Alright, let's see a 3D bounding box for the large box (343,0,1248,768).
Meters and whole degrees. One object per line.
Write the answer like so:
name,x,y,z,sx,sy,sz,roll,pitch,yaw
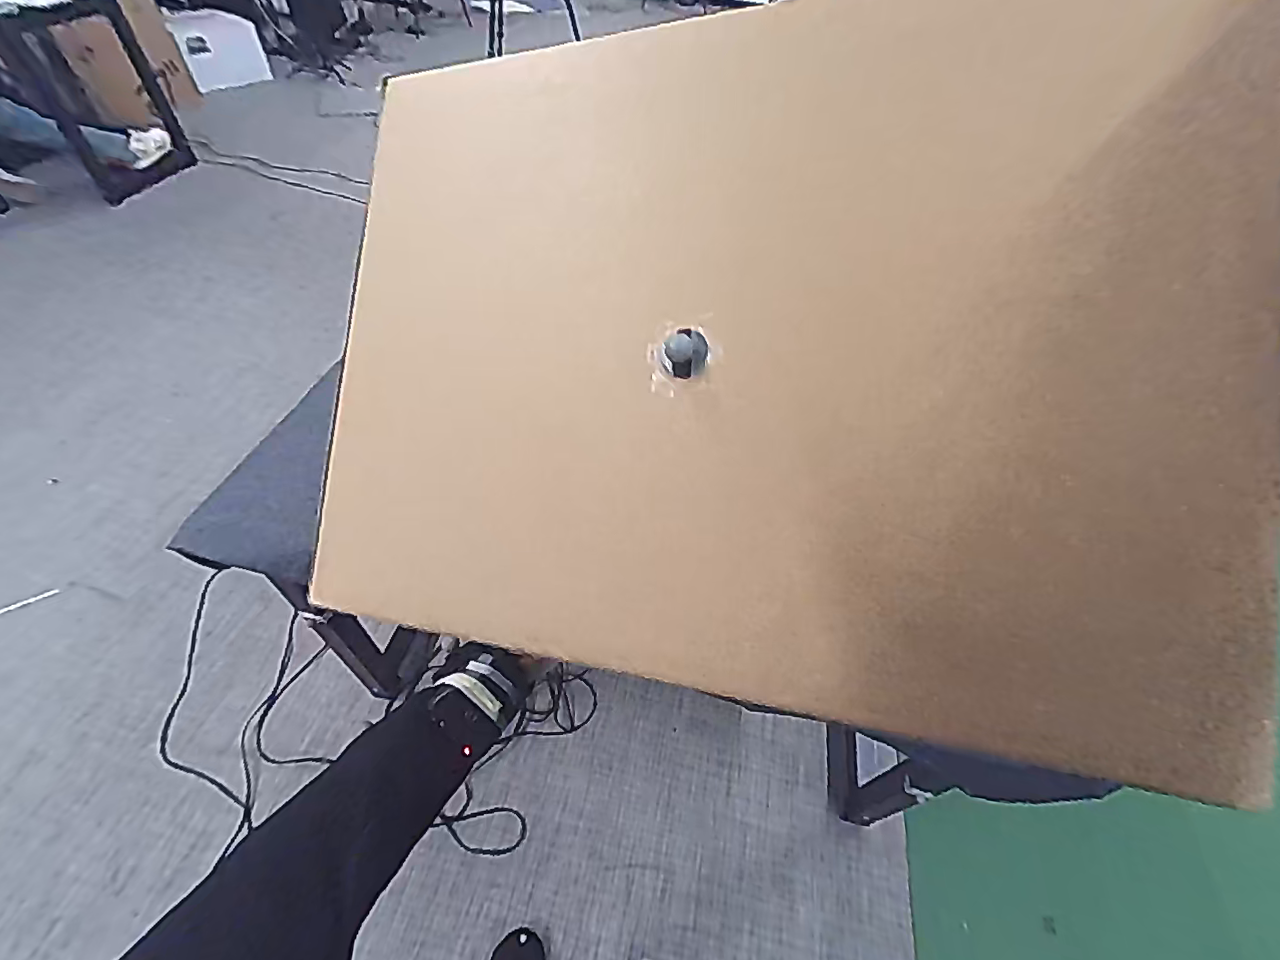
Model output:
large box,0.073,-0.042,0.394,0.408,0.320,0.320,3,85,18
